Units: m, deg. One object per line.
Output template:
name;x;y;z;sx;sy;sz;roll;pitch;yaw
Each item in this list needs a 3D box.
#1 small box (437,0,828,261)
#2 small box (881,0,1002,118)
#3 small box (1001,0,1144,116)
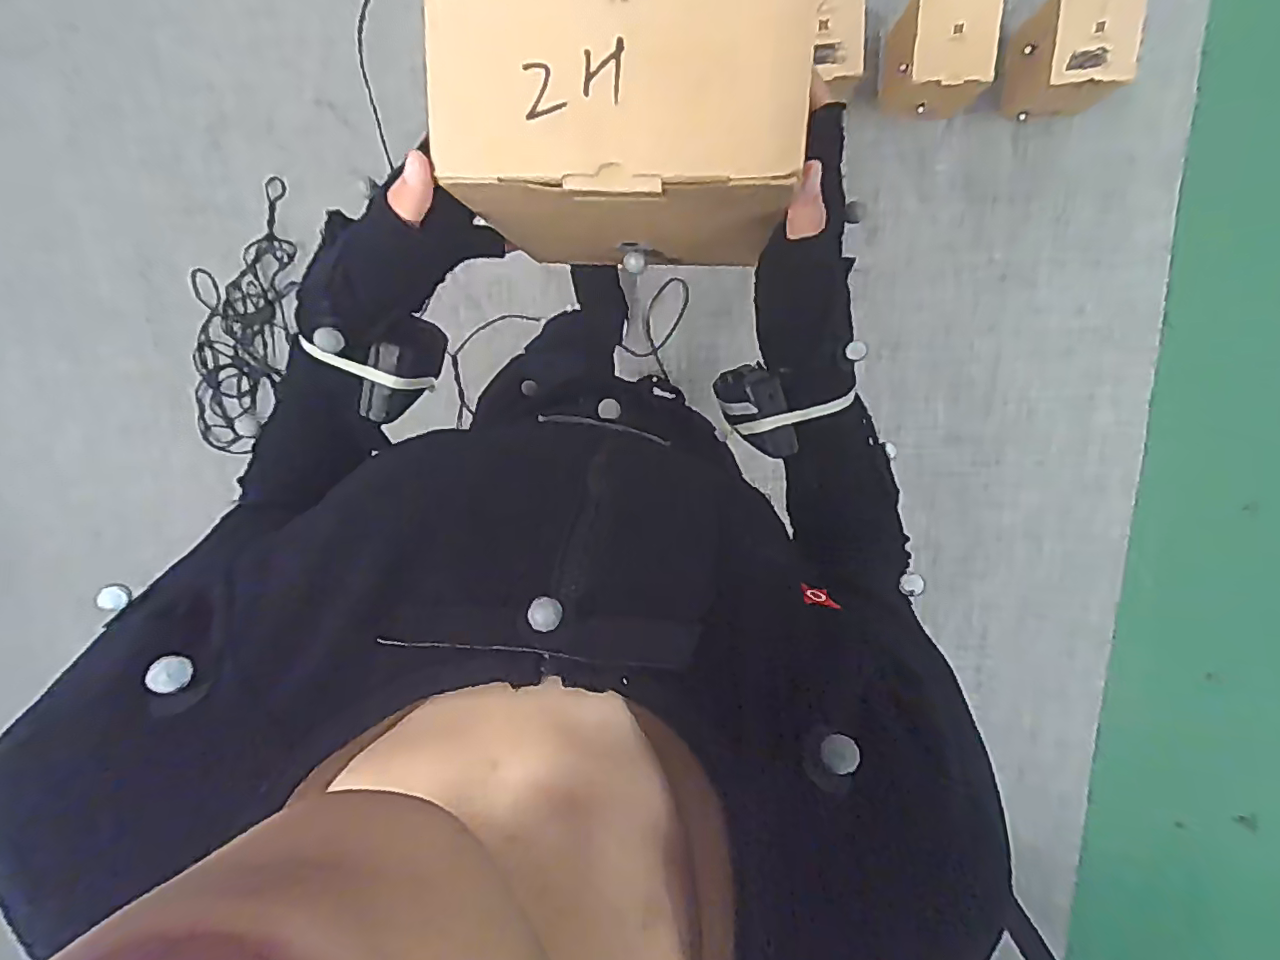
small box;0.003;-0.234;0.299;0.168;0.176;0.179;3;101;5
small box;0.634;-0.909;1.155;0.168;0.176;0.179;0;103;2
small box;0.902;-0.898;1.145;0.168;0.176;0.179;0;102;3
